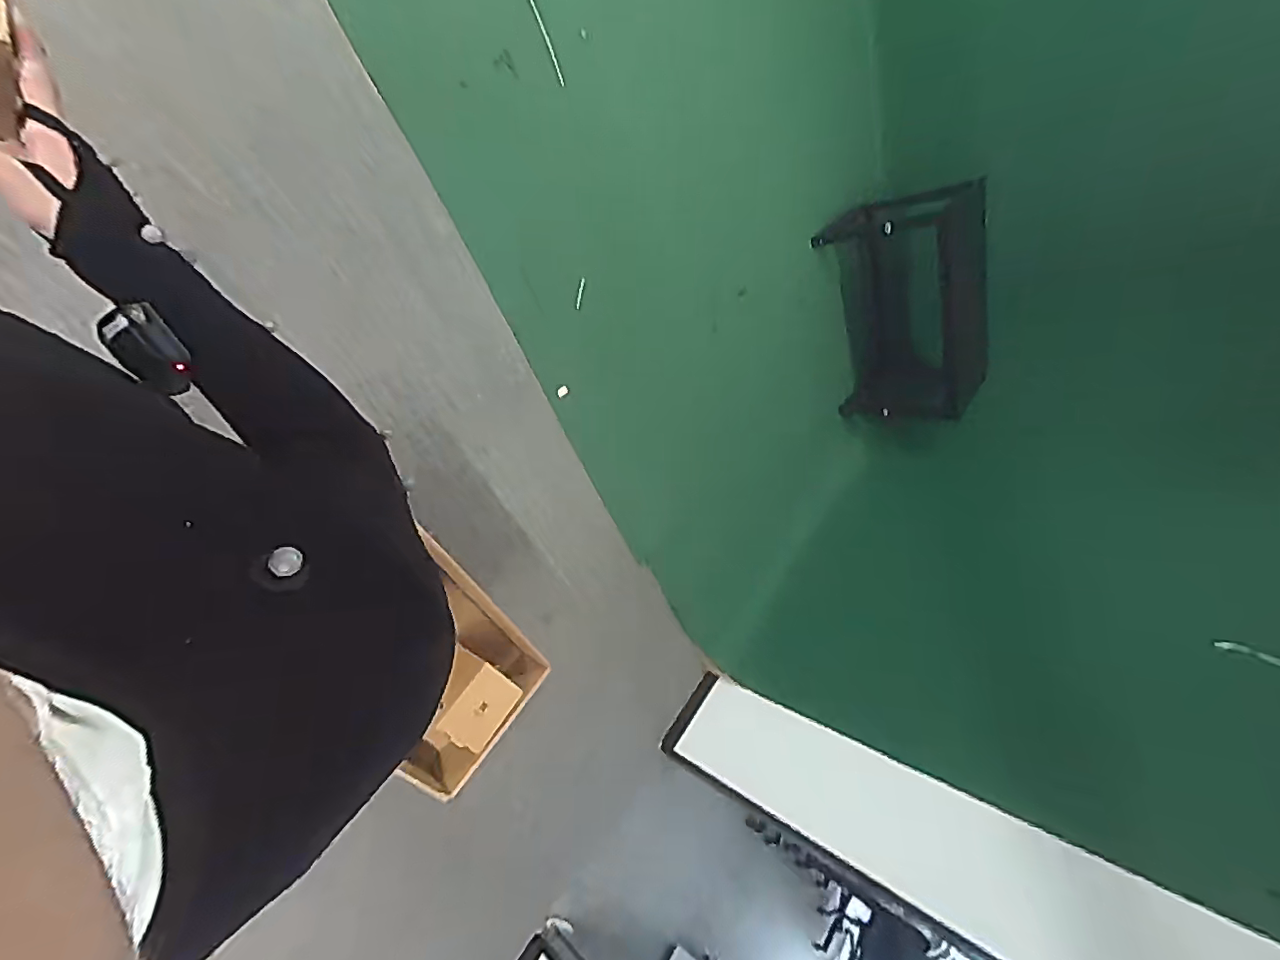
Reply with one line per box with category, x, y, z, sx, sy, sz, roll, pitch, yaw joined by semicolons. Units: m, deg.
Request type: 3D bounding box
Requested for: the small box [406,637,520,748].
small box;-0.444;0.523;1.352;0.179;0.176;0.168;-52;132;-24
